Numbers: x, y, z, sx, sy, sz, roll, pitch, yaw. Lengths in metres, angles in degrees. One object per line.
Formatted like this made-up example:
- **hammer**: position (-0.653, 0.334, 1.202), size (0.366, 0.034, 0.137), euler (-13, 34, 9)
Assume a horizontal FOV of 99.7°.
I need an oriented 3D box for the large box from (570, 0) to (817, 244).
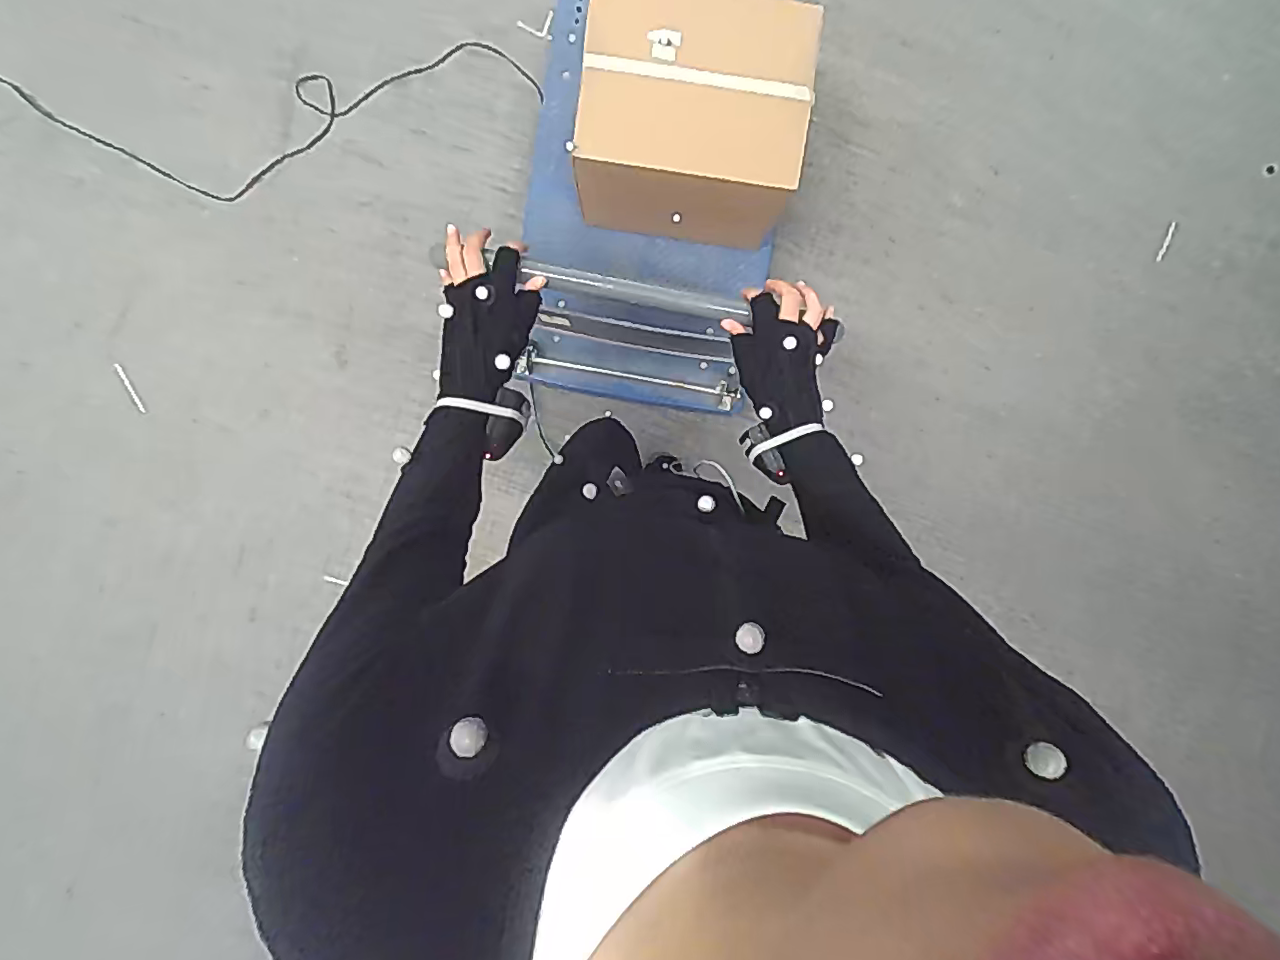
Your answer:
- **large box**: position (0.093, -0.700, 1.086), size (0.408, 0.320, 0.320), euler (8, 94, -1)
